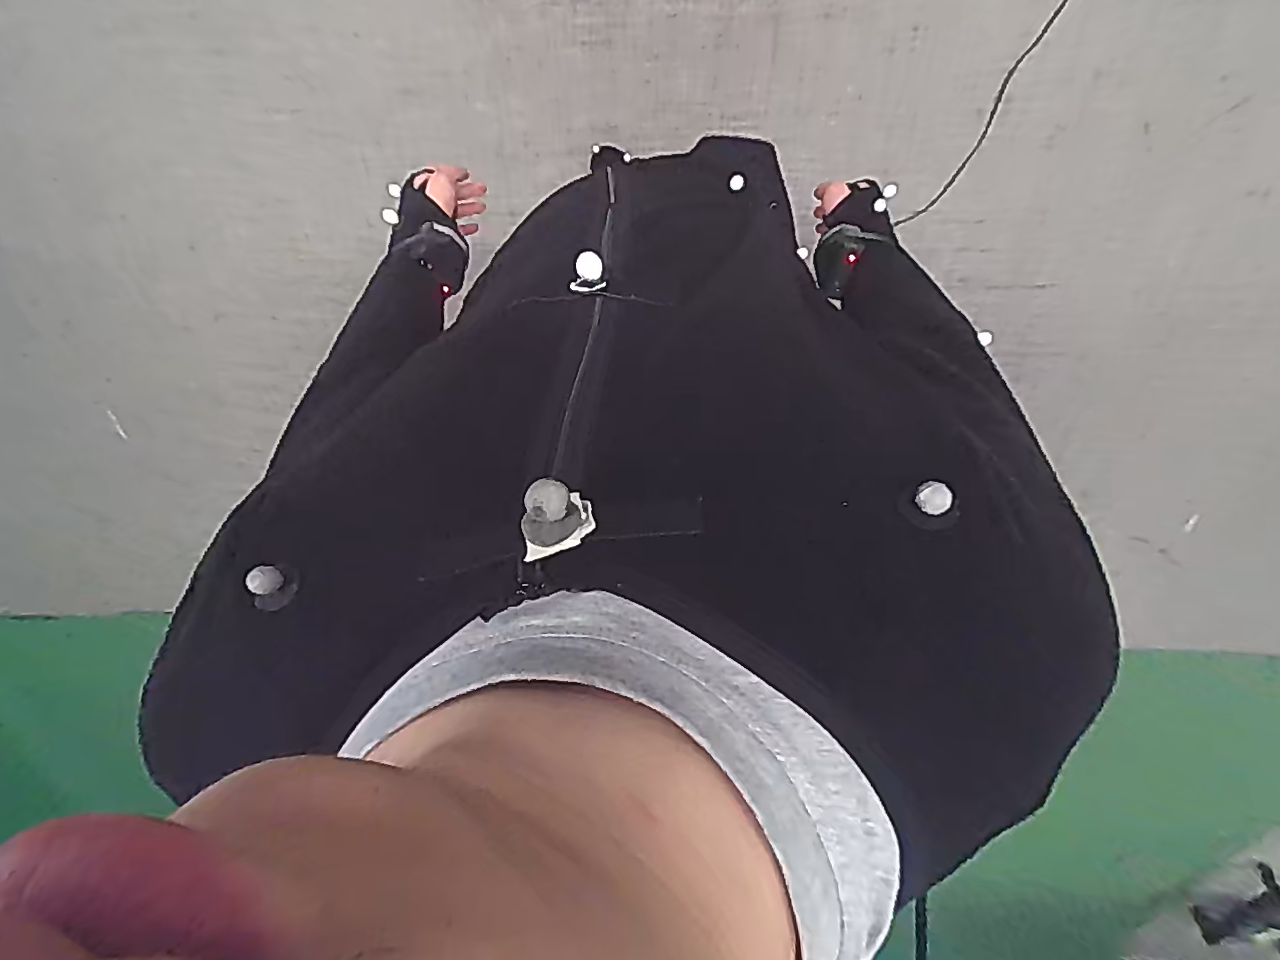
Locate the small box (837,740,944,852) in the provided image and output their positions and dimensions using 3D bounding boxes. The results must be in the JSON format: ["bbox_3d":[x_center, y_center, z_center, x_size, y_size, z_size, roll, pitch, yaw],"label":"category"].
[{"bbox_3d":[0.570,0.734,1.258,0.168,0.176,0.179,-1,125,4],"label":"small box"}]
